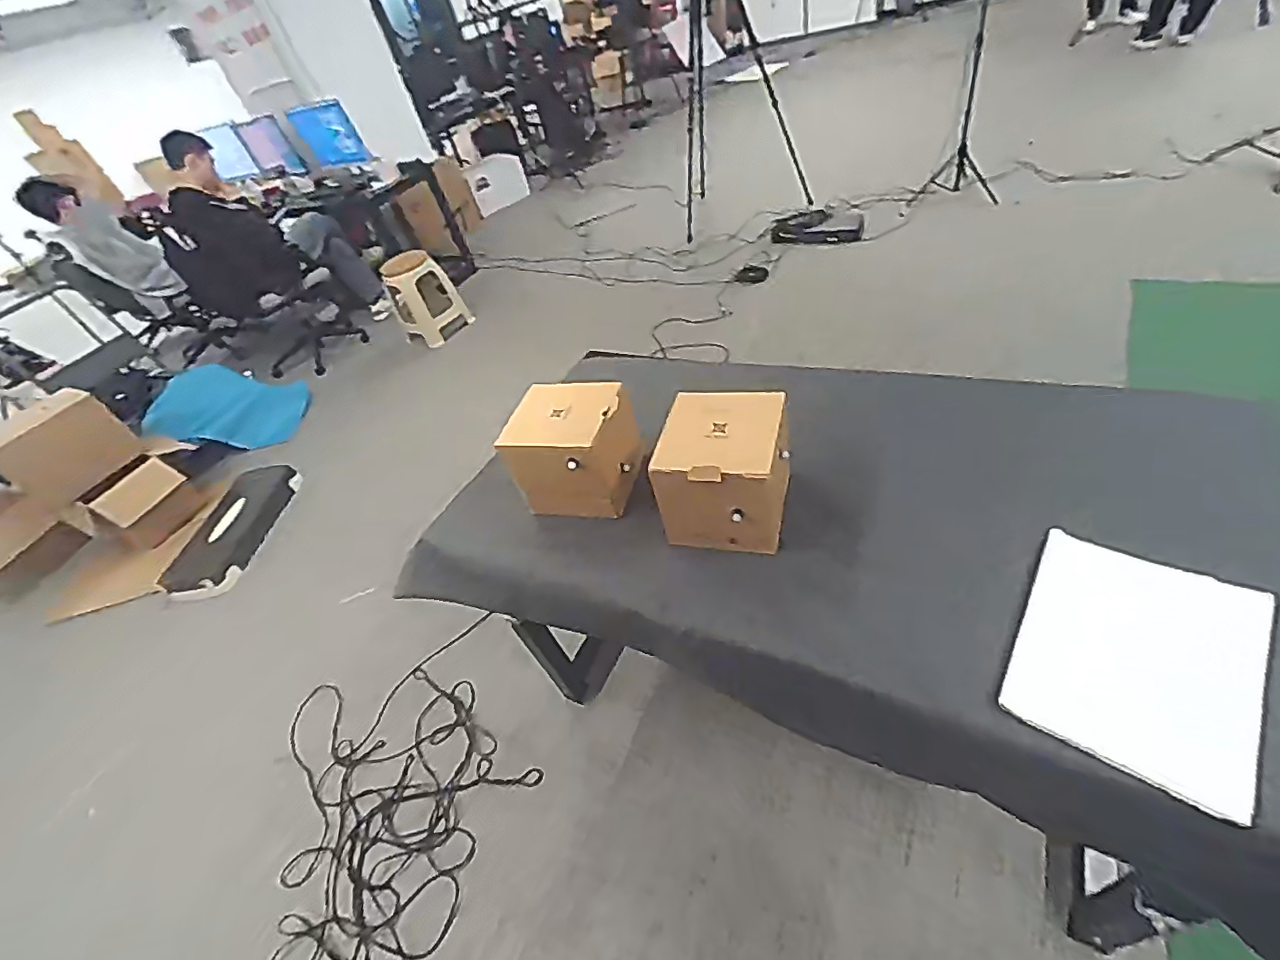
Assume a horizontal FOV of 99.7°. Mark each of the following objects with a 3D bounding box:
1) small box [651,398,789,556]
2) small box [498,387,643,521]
[{"bbox_3d":[0.131,-0.006,0.818,0.168,0.176,0.179,4,45,21],"label":"small box"},{"bbox_3d":[-0.110,-0.044,0.940,0.179,0.176,0.168,2,45,19],"label":"small box"}]
